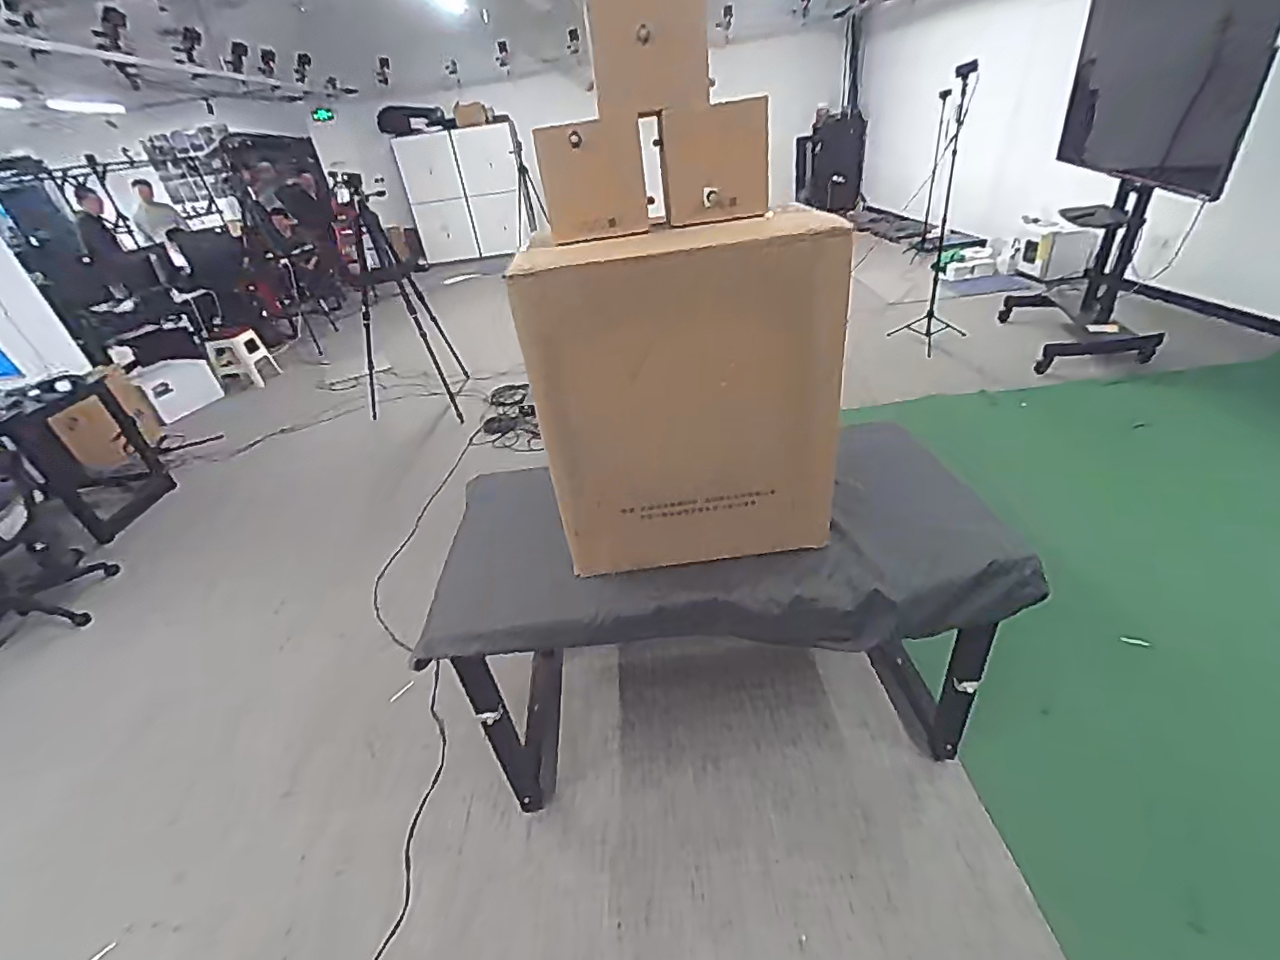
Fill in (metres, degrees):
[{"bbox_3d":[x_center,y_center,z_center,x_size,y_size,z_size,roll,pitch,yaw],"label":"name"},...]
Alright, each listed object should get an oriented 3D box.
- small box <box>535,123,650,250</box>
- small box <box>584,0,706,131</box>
[{"bbox_3d":[-0.075,-0.508,0.946,0.168,0.176,0.179,-8,30,3],"label":"small box"},{"bbox_3d":[0.010,-0.668,0.873,0.179,0.176,0.168,-8,30,1],"label":"small box"}]
